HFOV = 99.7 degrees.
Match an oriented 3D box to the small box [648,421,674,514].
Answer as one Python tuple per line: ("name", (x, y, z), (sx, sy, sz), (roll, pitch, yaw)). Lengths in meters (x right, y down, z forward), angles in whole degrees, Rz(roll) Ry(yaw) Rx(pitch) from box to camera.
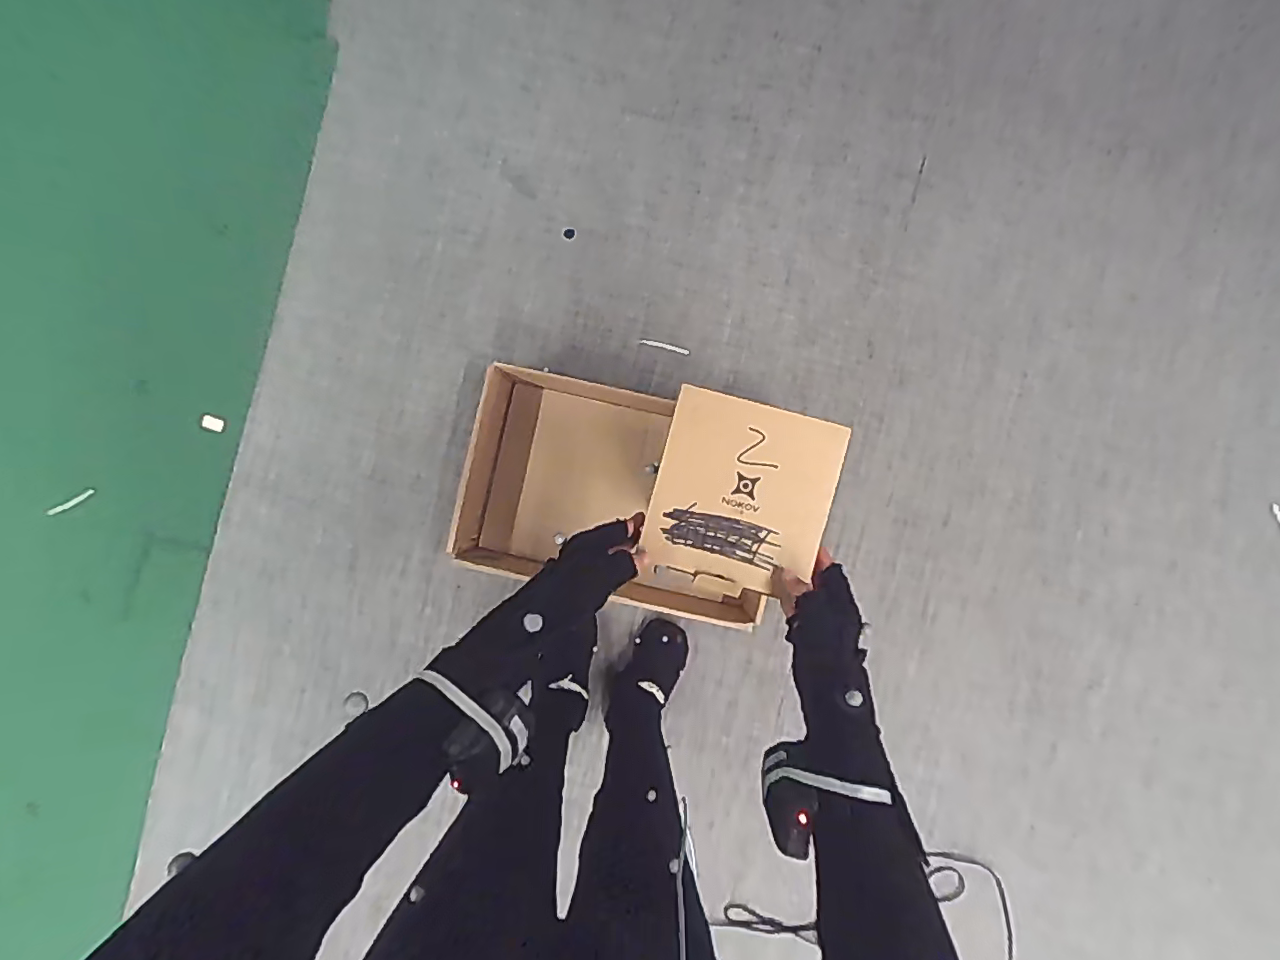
("small box", (0.113, -0.012, 1.078), (0.168, 0.176, 0.179), (9, 90, 3))

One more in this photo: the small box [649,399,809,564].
("small box", (0.113, 0.000, 0.749), (0.168, 0.176, 0.179), (14, 91, 1))
